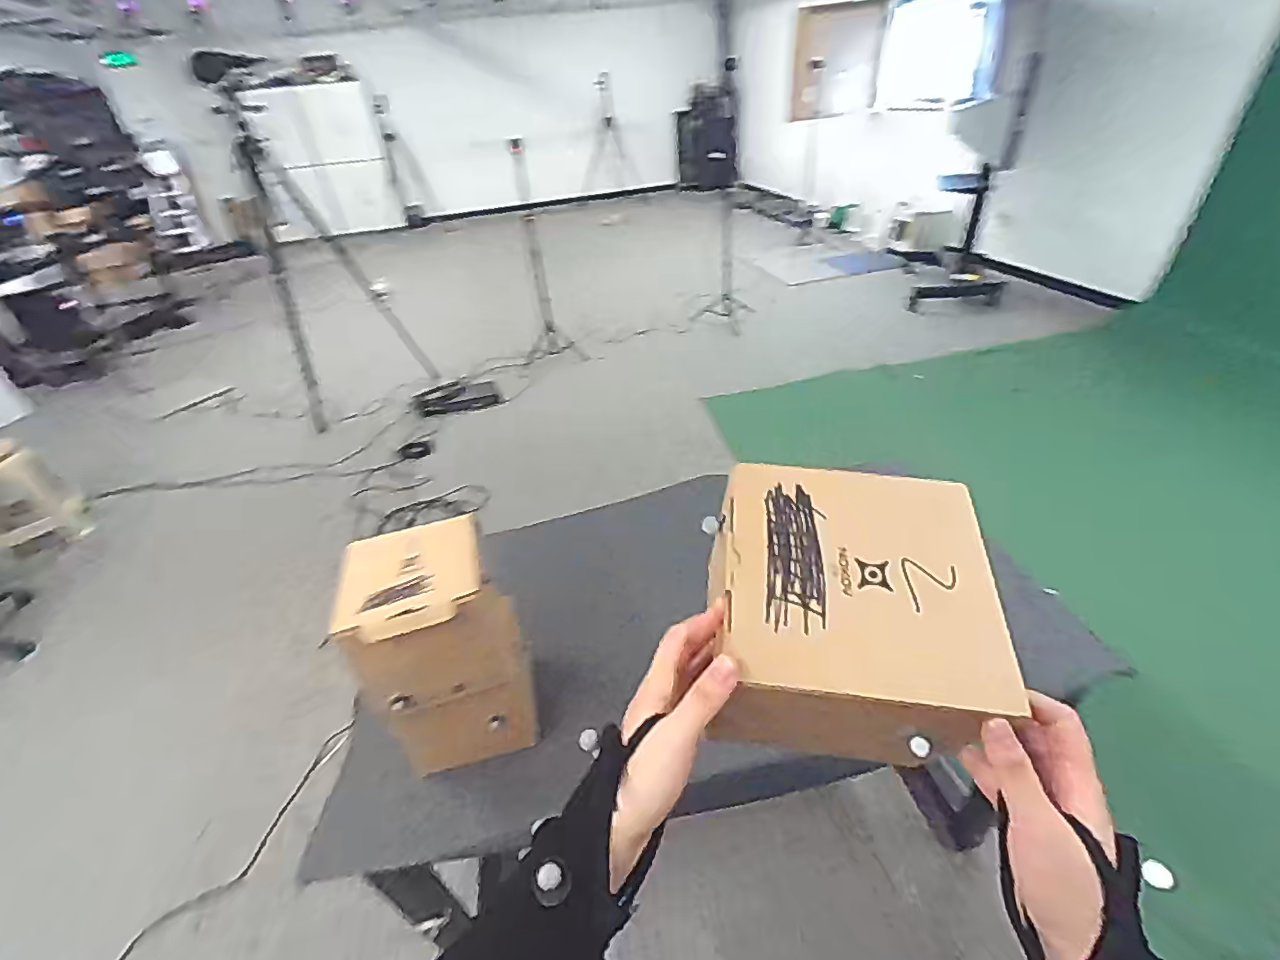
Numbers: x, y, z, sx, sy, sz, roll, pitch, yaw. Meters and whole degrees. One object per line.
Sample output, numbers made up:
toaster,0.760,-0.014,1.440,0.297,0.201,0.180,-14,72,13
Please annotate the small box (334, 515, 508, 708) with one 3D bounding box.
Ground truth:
small box,-0.284,0.179,0.732,0.168,0.176,0.179,-14,34,-12

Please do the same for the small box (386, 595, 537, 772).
small box,-0.260,0.310,0.829,0.179,0.176,0.168,-13,35,-8
